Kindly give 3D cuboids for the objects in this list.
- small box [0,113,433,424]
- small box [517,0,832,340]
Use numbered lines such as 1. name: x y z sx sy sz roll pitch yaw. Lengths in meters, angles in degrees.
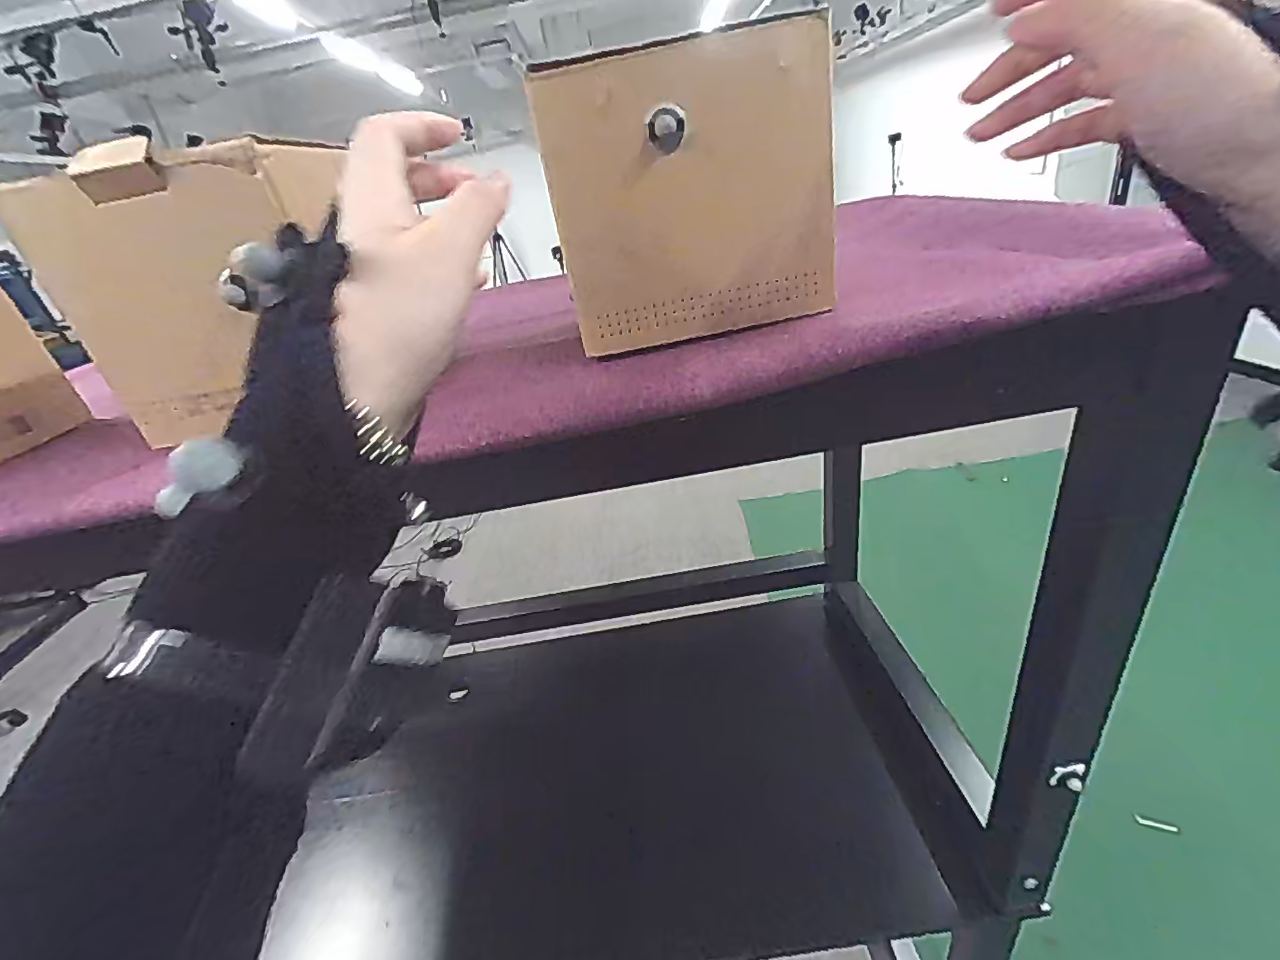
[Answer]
1. small box: -0.278 -0.148 0.402 0.168 0.176 0.179 -8 28 3
2. small box: 0.028 -0.211 0.399 0.179 0.176 0.168 -11 26 2
